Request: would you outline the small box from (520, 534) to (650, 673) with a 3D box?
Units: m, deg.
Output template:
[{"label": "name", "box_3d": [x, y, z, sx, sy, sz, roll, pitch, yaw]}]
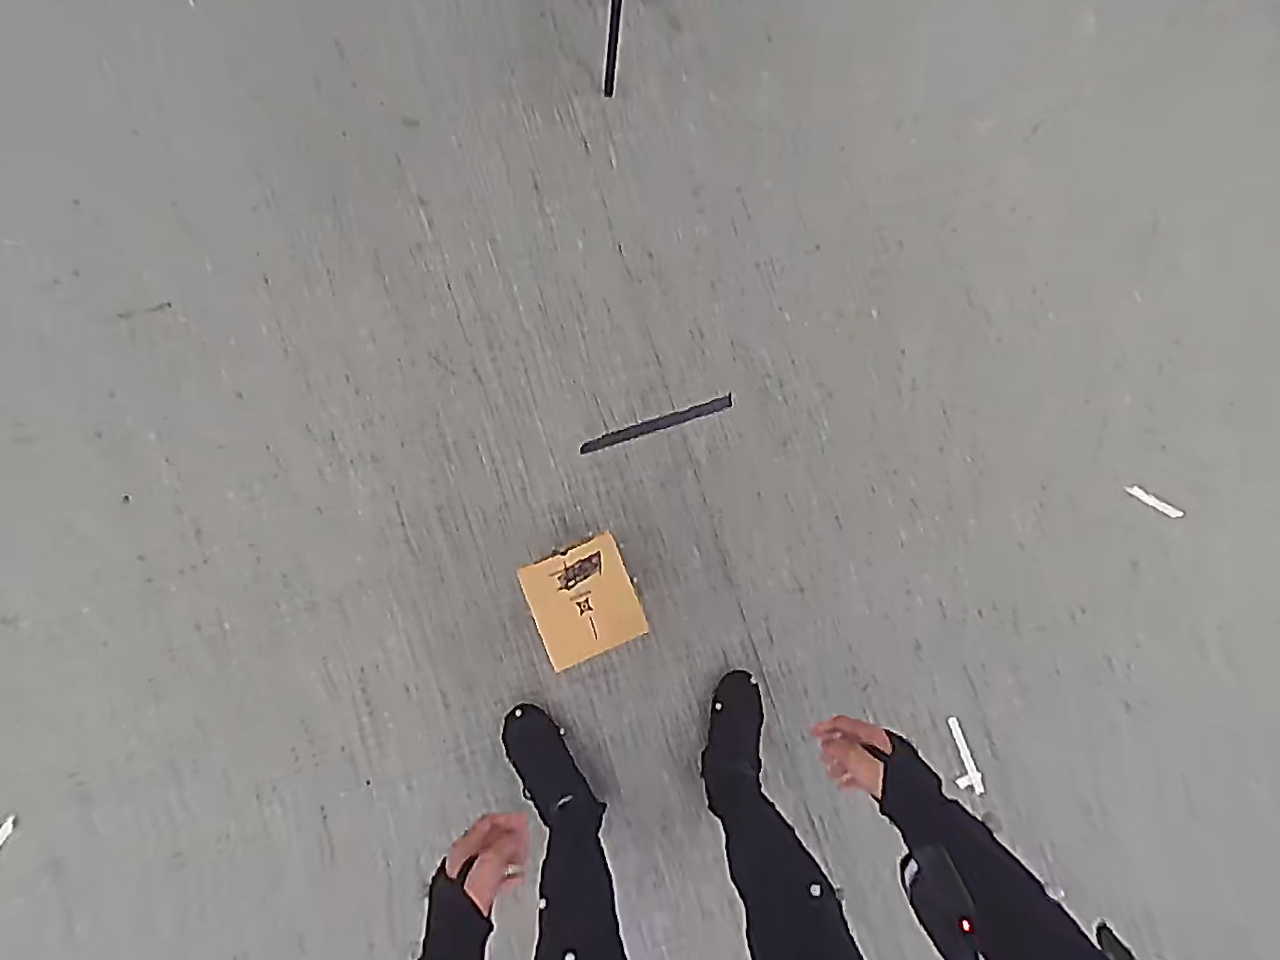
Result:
[{"label": "small box", "box_3d": [-0.096, 0.205, 0.944, 0.168, 0.176, 0.179, -22, 87, -6]}]
